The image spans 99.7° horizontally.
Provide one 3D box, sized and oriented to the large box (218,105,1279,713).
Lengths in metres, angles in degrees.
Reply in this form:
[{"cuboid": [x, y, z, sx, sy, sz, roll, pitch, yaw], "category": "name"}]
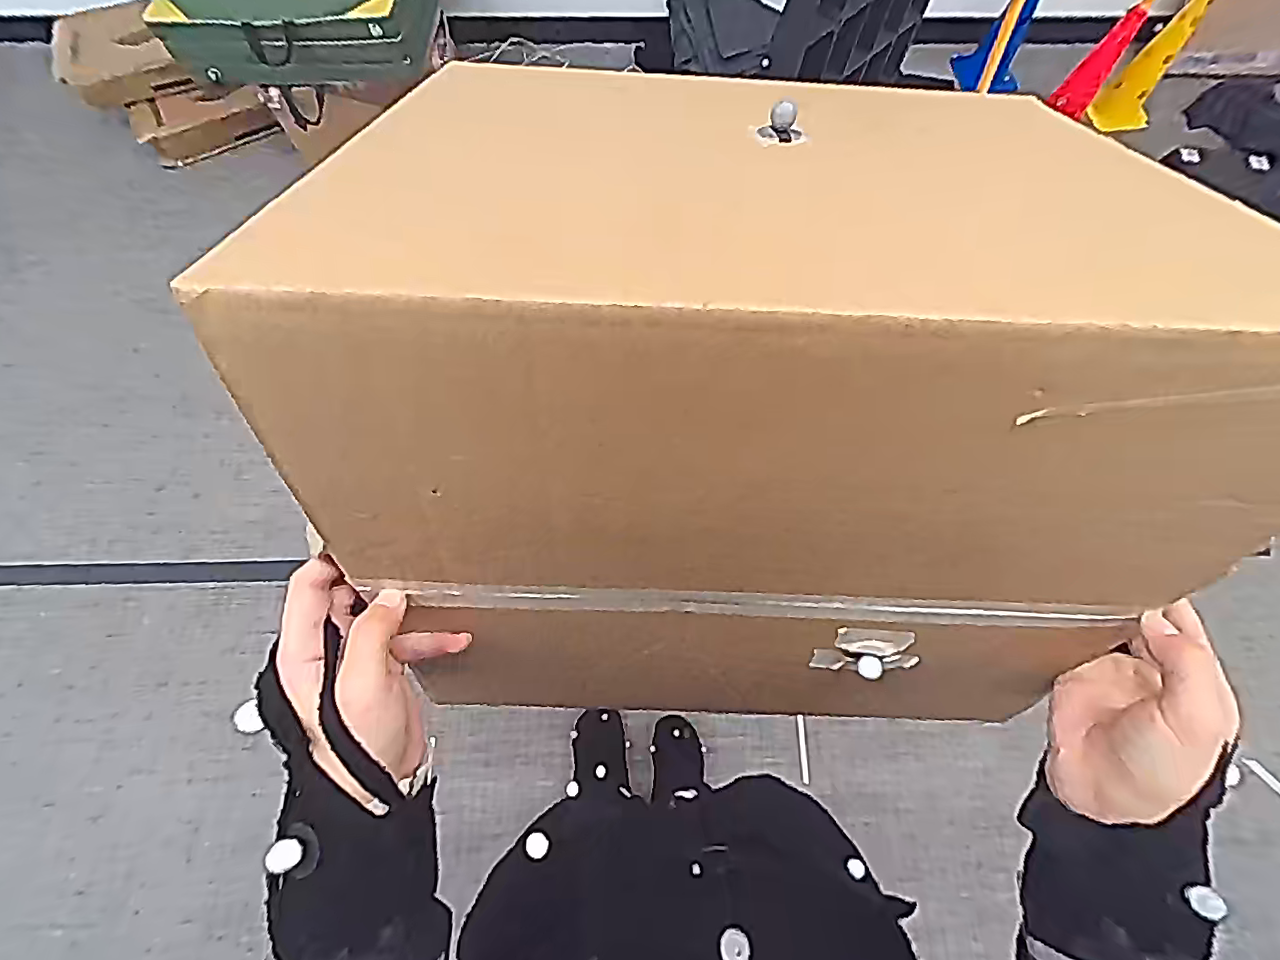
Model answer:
[{"cuboid": [0.056, -0.048, 0.383, 0.408, 0.320, 0.320, 1, 48, -1], "category": "large box"}]
